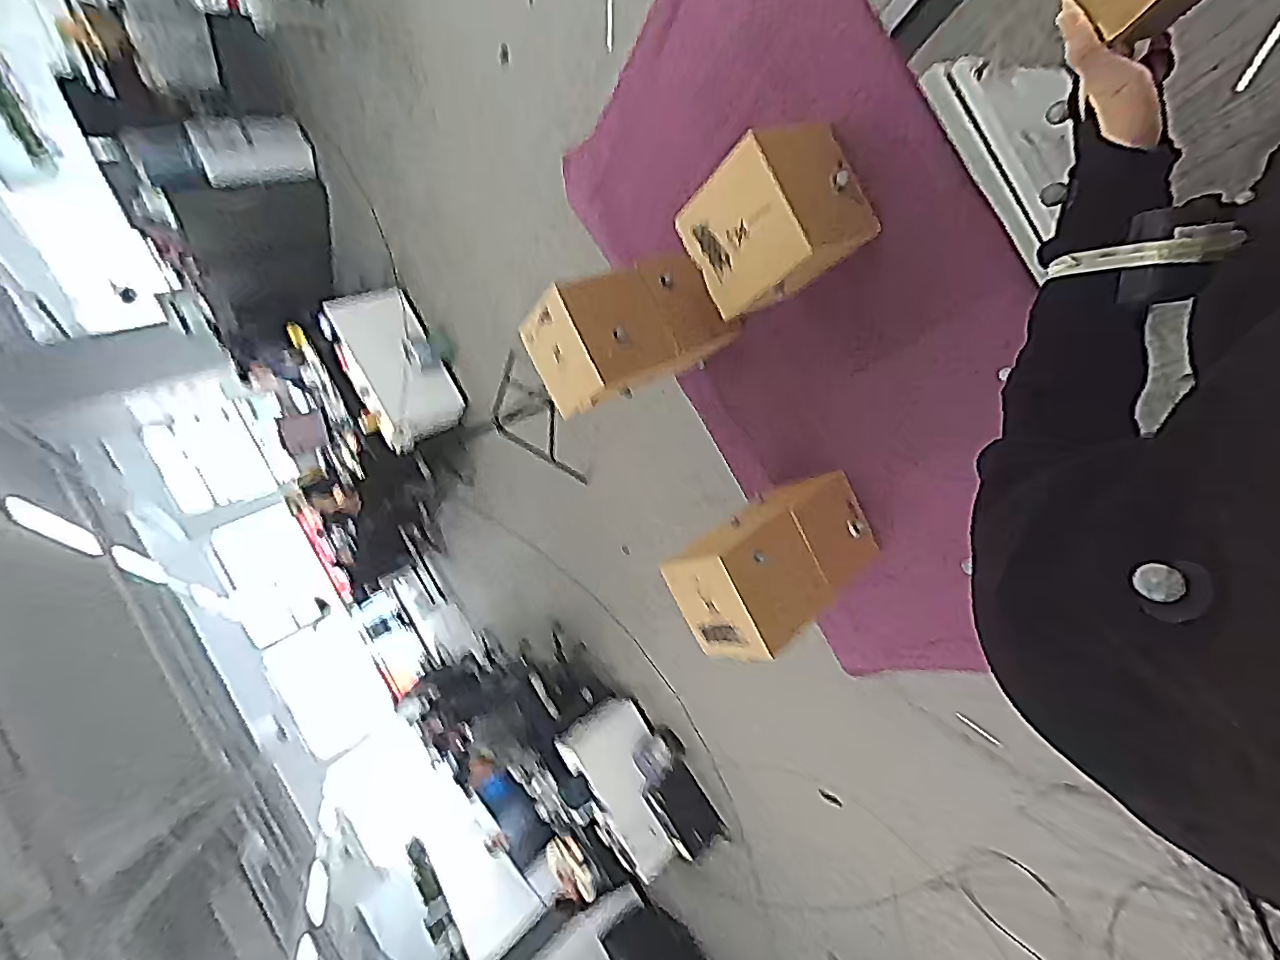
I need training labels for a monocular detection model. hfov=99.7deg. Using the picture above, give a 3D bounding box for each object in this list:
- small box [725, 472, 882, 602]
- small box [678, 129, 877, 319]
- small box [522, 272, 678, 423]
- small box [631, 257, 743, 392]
[{"bbox_3d":[0.295,0.104,0.976,0.179,0.176,0.168,-22,97,55],"label":"small box"},{"bbox_3d":[0.192,-0.357,0.764,0.168,0.176,0.179,61,148,-1],"label":"small box"},{"bbox_3d":[-0.066,-0.224,0.917,0.168,0.176,0.179,-24,95,56],"label":"small box"},{"bbox_3d":[0.055,-0.293,1.005,0.168,0.176,0.179,-26,93,57],"label":"small box"}]
